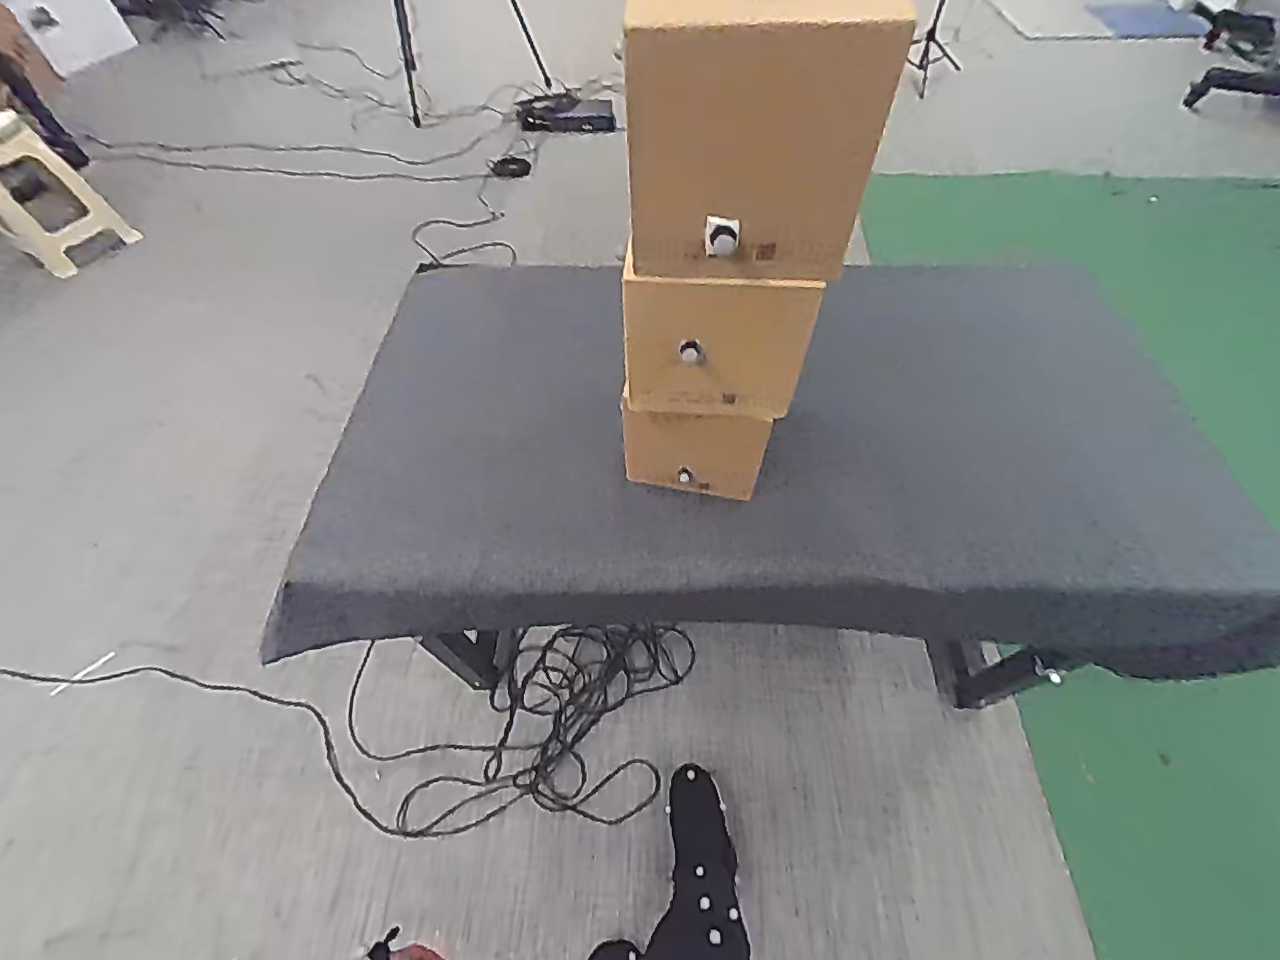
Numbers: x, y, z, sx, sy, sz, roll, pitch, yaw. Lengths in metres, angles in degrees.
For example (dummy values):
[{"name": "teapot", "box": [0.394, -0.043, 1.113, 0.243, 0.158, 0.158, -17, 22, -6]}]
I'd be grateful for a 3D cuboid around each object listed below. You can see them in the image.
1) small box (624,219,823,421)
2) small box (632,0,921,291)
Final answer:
[{"name": "small box", "box": [0.077, -0.177, 0.550, 0.168, 0.176, 0.179, 3, 56, 3]}, {"name": "small box", "box": [0.083, -0.270, 0.417, 0.168, 0.176, 0.179, 1, 56, 3]}]
